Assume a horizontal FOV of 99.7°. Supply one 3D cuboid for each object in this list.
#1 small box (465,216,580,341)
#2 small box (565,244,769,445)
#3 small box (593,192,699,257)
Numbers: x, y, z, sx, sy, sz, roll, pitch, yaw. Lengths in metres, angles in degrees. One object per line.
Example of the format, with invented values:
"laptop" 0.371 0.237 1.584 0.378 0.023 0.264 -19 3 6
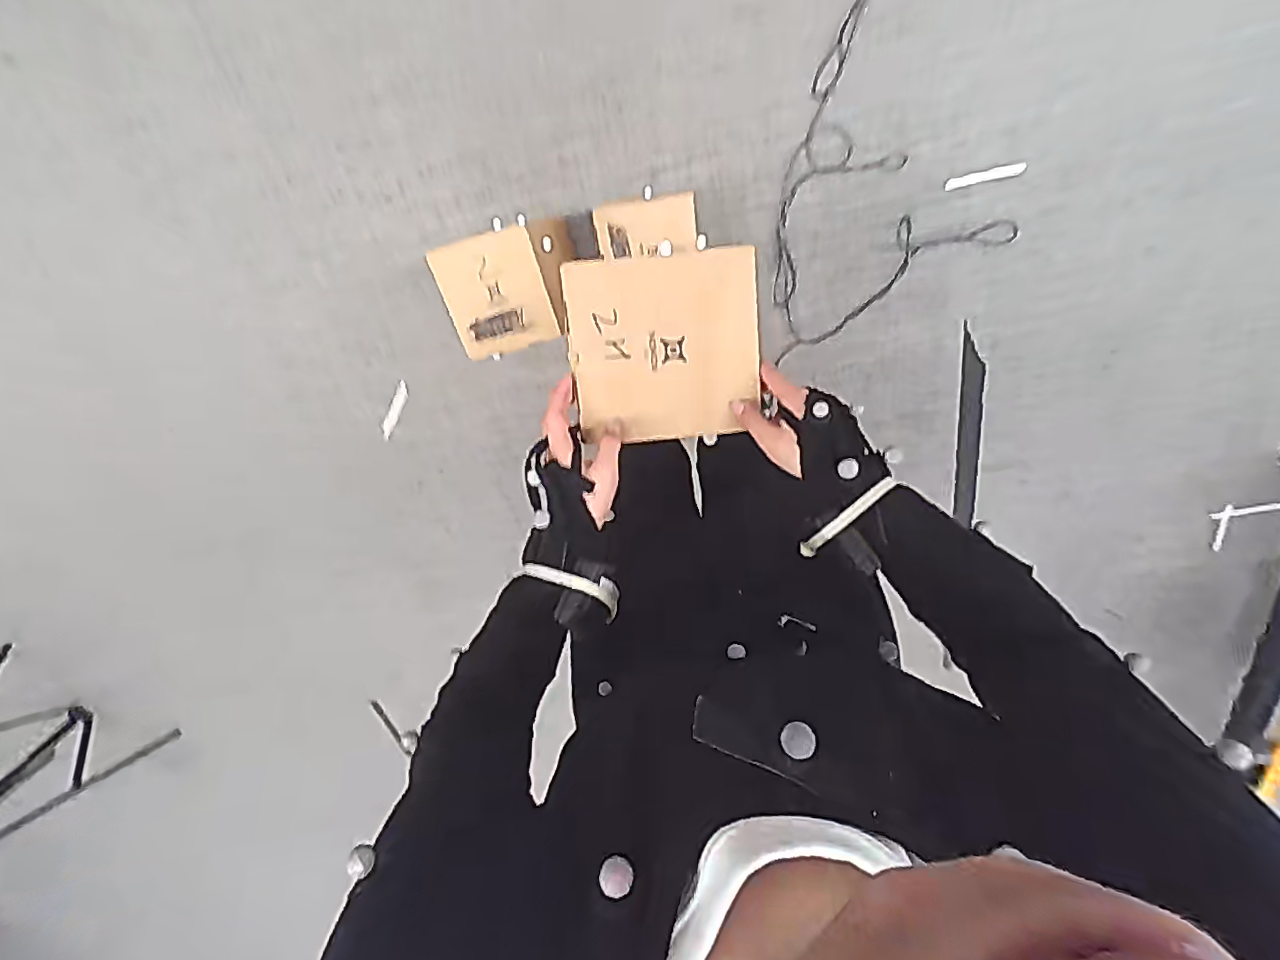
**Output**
"small box" -0.206 -0.397 1.054 0.168 0.176 0.179 -16 117 13
"small box" 0.027 -0.139 0.560 0.179 0.176 0.168 -5 104 2
"small box" 0.020 -0.436 1.013 0.179 0.176 0.168 -5 118 6
